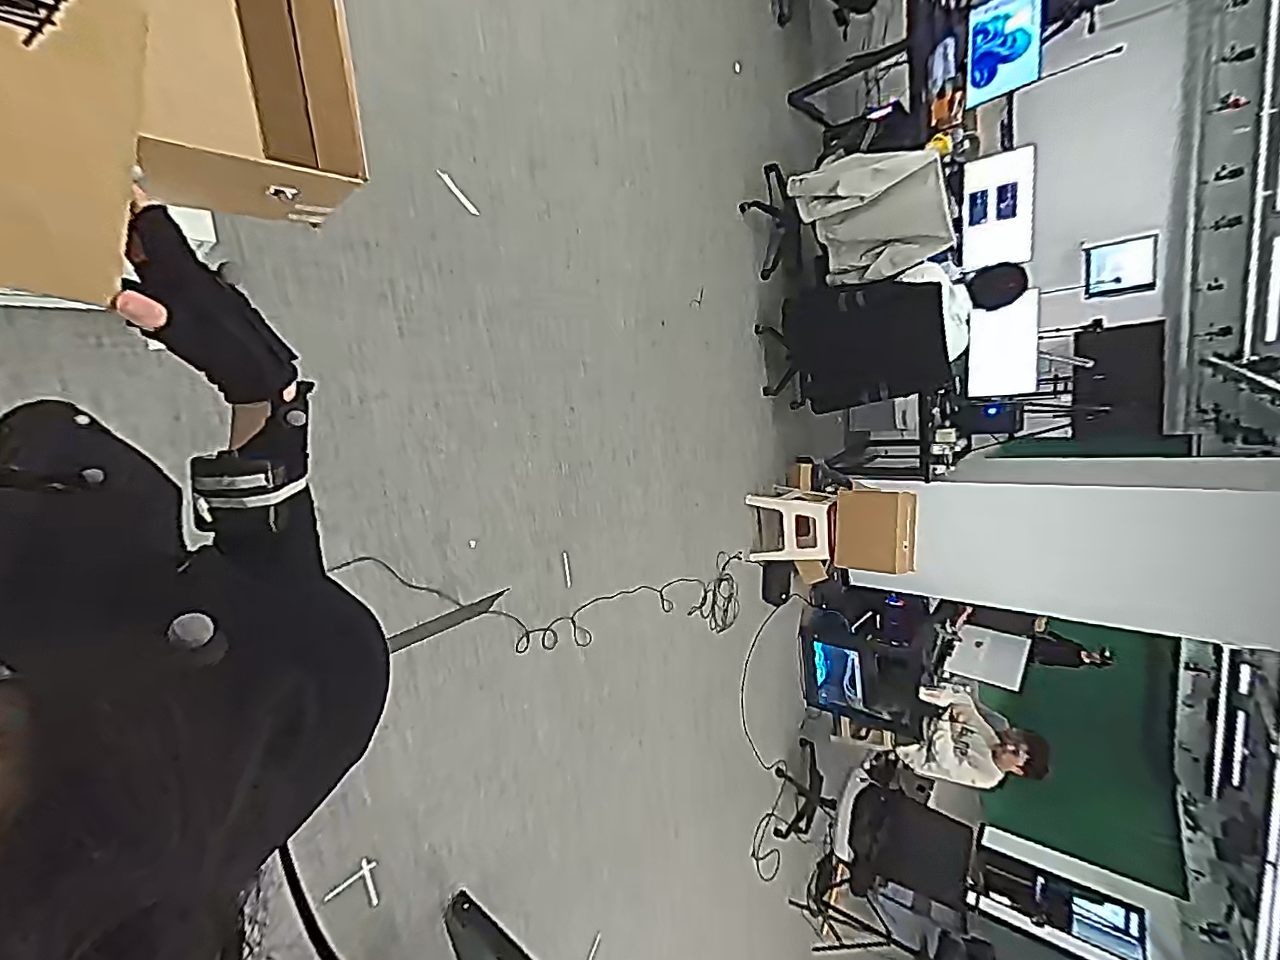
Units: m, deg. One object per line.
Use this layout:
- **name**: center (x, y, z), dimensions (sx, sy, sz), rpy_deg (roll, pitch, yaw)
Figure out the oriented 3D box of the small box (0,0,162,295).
- **small box**: center (-0.379, -0.216, 0.273), dimensions (0.168, 0.176, 0.179), rpy_deg (2, 108, -54)
